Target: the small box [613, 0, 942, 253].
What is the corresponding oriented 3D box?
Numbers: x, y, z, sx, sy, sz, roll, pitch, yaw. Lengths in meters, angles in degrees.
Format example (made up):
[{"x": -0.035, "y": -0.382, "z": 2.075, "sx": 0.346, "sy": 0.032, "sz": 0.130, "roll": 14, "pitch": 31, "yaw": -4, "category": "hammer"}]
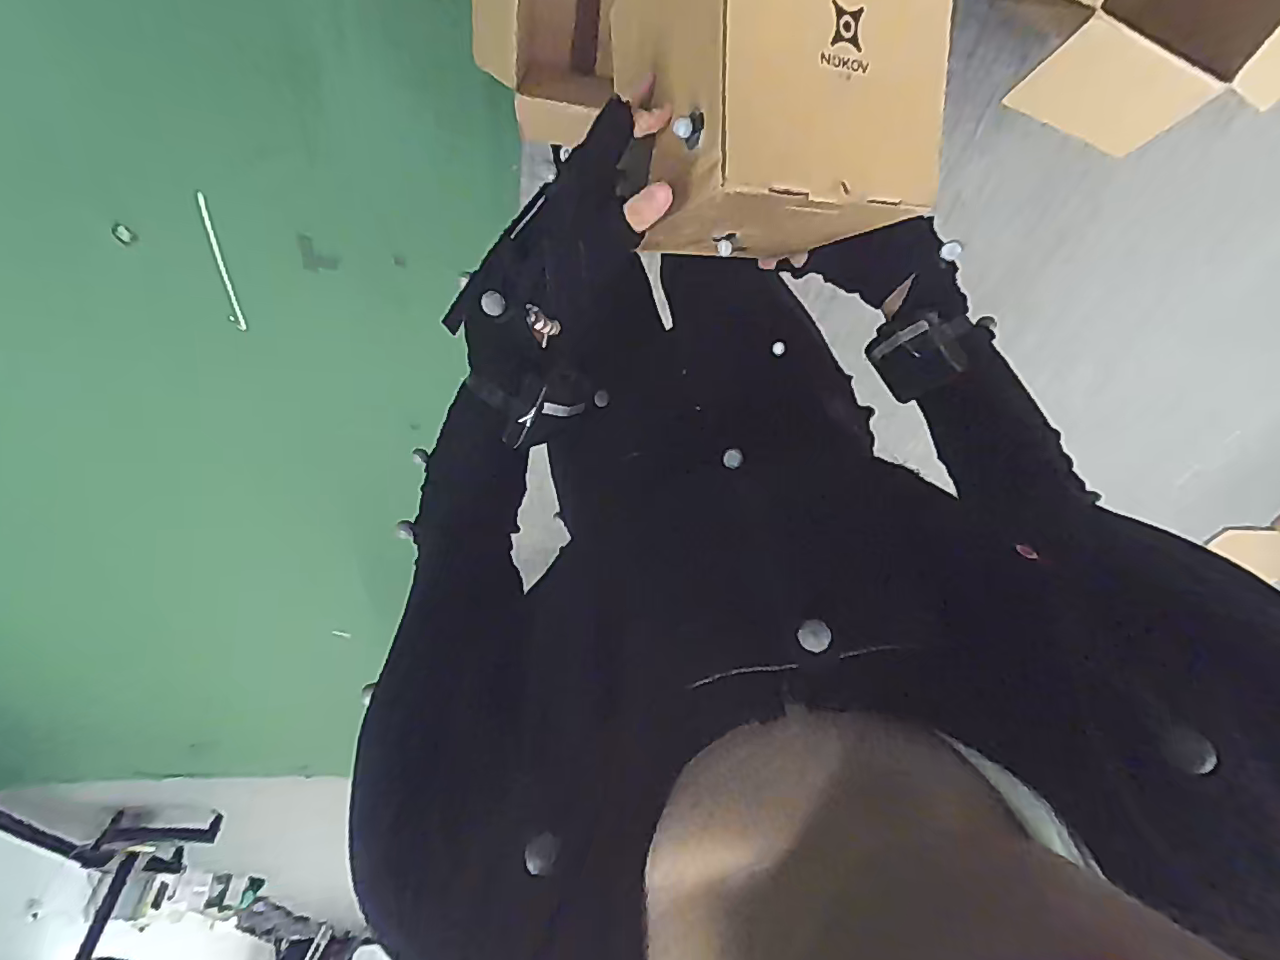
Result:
[{"x": 0.085, "y": -0.277, "z": 0.393, "sx": 0.168, "sy": 0.176, "sz": 0.179, "roll": -7, "pitch": 105, "yaw": -22, "category": "small box"}]
